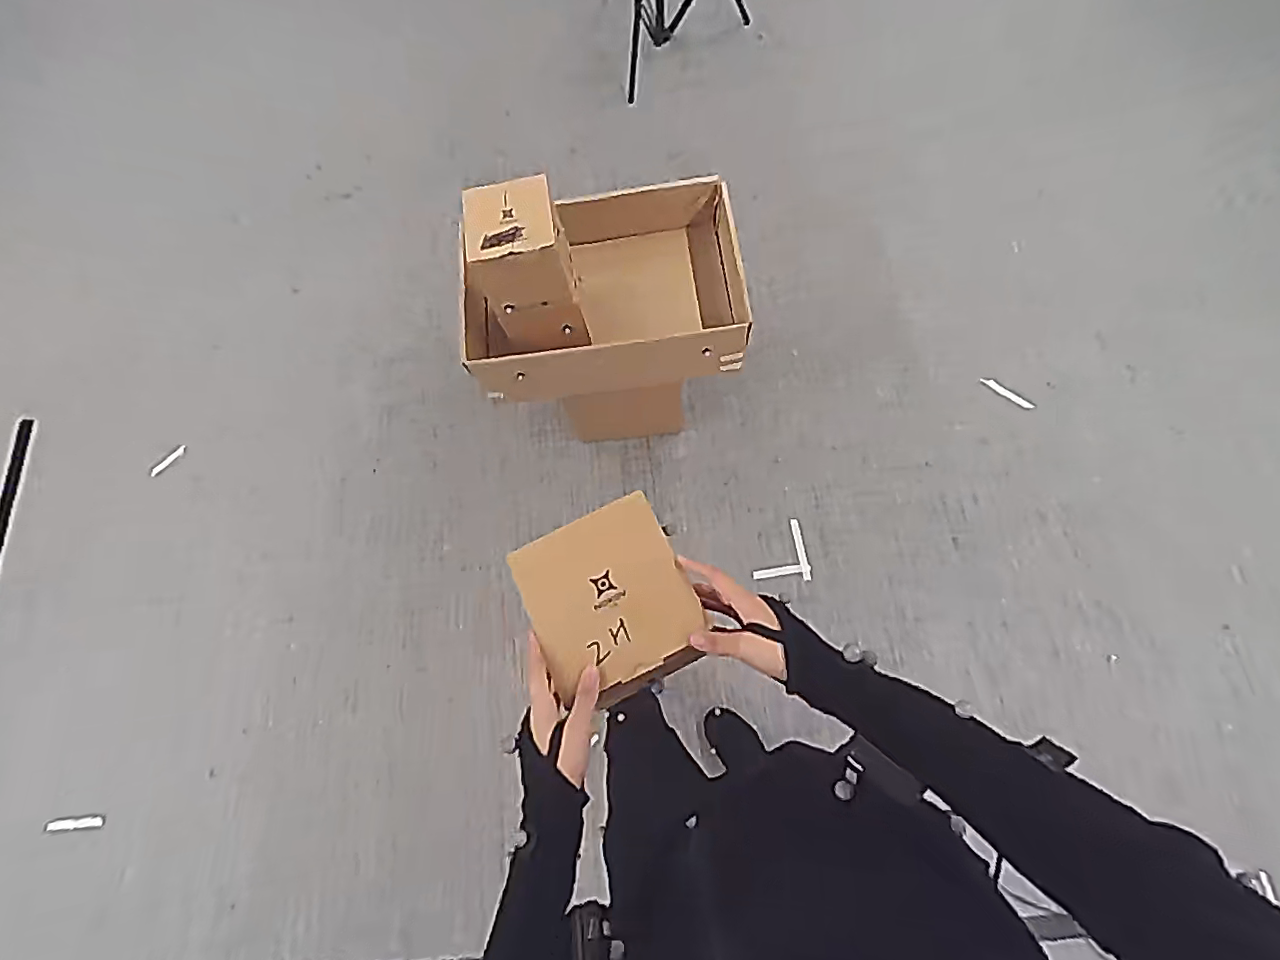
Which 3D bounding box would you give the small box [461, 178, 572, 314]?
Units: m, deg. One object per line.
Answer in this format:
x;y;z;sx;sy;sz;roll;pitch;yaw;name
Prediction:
-0.237;-0.448;1.066;0.168;0.176;0.179;-11;71;2;small box

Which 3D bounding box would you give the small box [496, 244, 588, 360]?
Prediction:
-0.219;-0.394;1.219;0.179;0.176;0.168;-12;72;2;small box

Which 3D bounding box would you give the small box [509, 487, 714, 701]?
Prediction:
-0.027;0.141;0.629;0.168;0.176;0.179;-26;67;-3;small box
